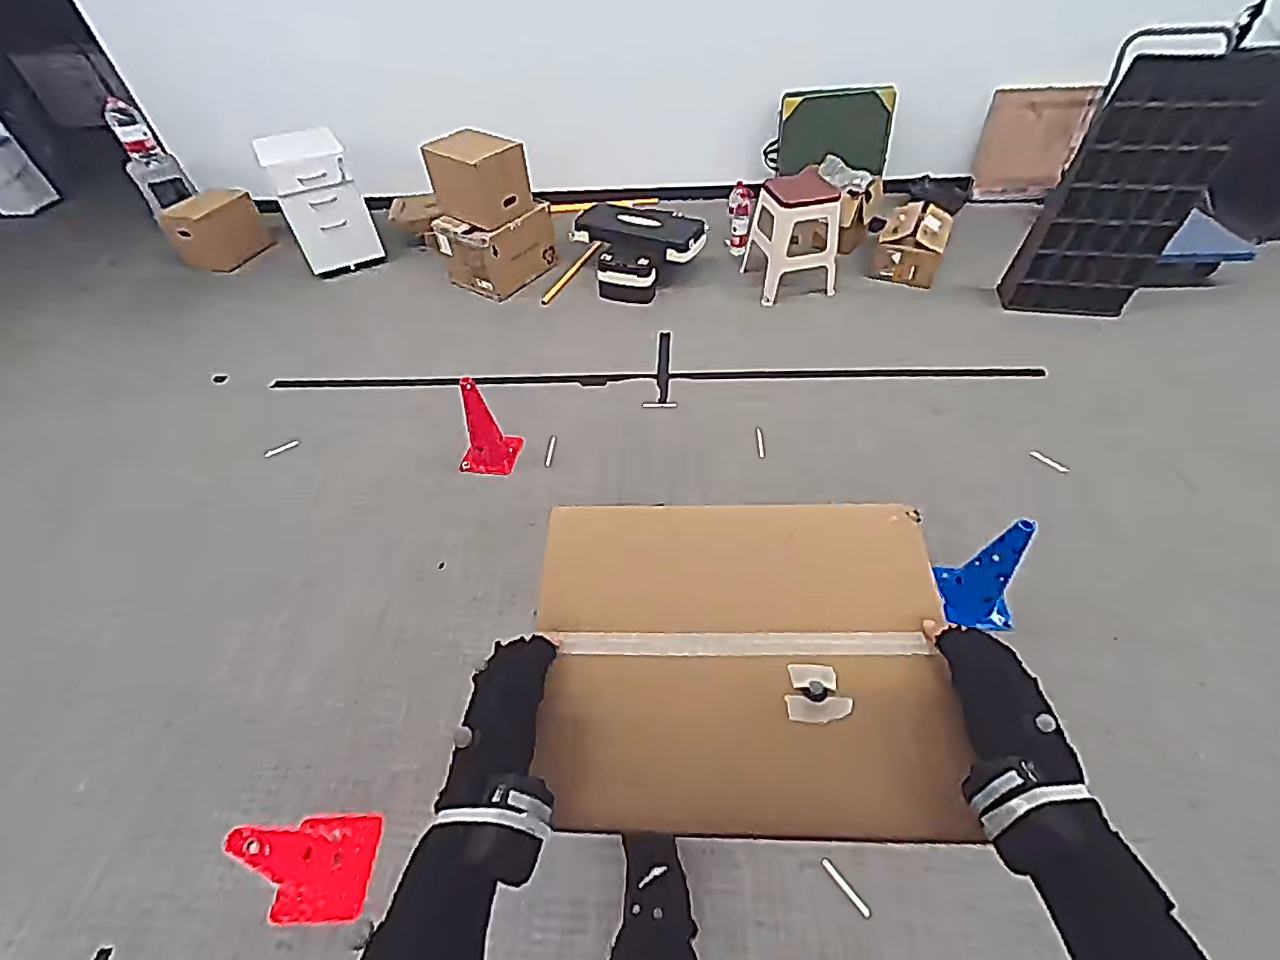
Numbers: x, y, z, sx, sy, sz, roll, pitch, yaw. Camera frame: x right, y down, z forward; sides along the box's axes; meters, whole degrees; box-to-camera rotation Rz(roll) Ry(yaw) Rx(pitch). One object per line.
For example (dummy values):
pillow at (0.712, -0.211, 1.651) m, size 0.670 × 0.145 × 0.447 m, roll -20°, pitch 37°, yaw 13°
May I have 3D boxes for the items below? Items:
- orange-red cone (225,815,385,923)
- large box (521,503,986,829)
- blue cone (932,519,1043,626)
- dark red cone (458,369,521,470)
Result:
orange-red cone at (-0.702, 0.758, 1.085) m, size 0.198 × 0.360 × 0.199 m, roll -3°, pitch 49°, yaw 3°
large box at (0.102, 0.240, 0.663) m, size 0.408 × 0.320 × 0.320 m, roll -1°, pitch 57°, yaw 4°
blue cone at (0.966, 0.232, 1.466) m, size 0.192 × 0.380 × 0.193 m, roll 3°, pitch 48°, yaw 5°
dark red cone at (-0.573, -0.223, 1.929) m, size 0.201 × 0.394 × 0.202 m, roll 5°, pitch 49°, yaw 7°
